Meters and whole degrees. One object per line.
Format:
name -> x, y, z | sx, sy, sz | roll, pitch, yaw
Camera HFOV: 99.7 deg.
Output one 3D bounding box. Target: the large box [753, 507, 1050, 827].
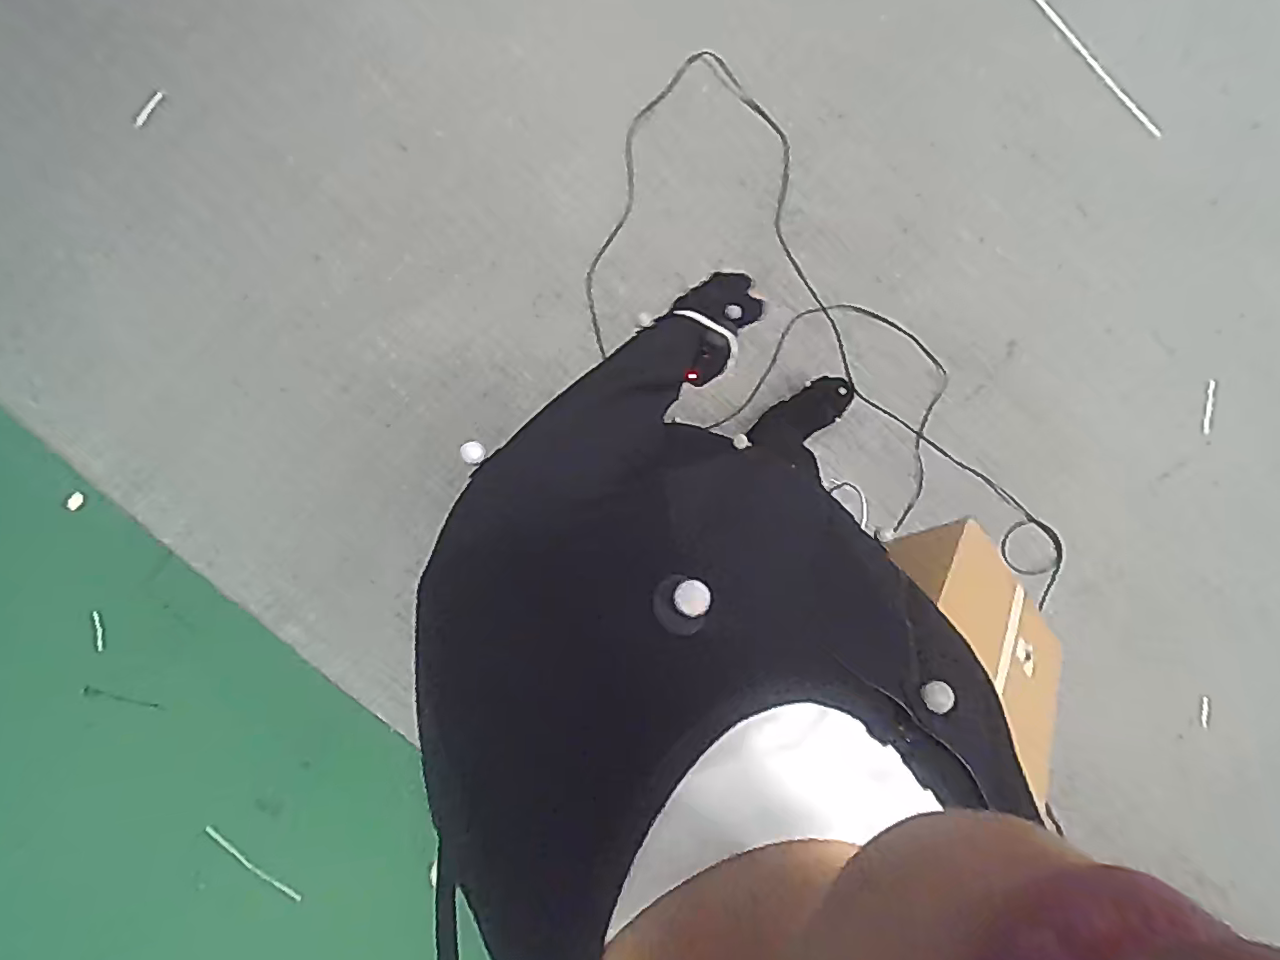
large box -> 0.472, 0.318, 0.971 | 0.320, 0.408, 0.320 | 54, 138, -4
